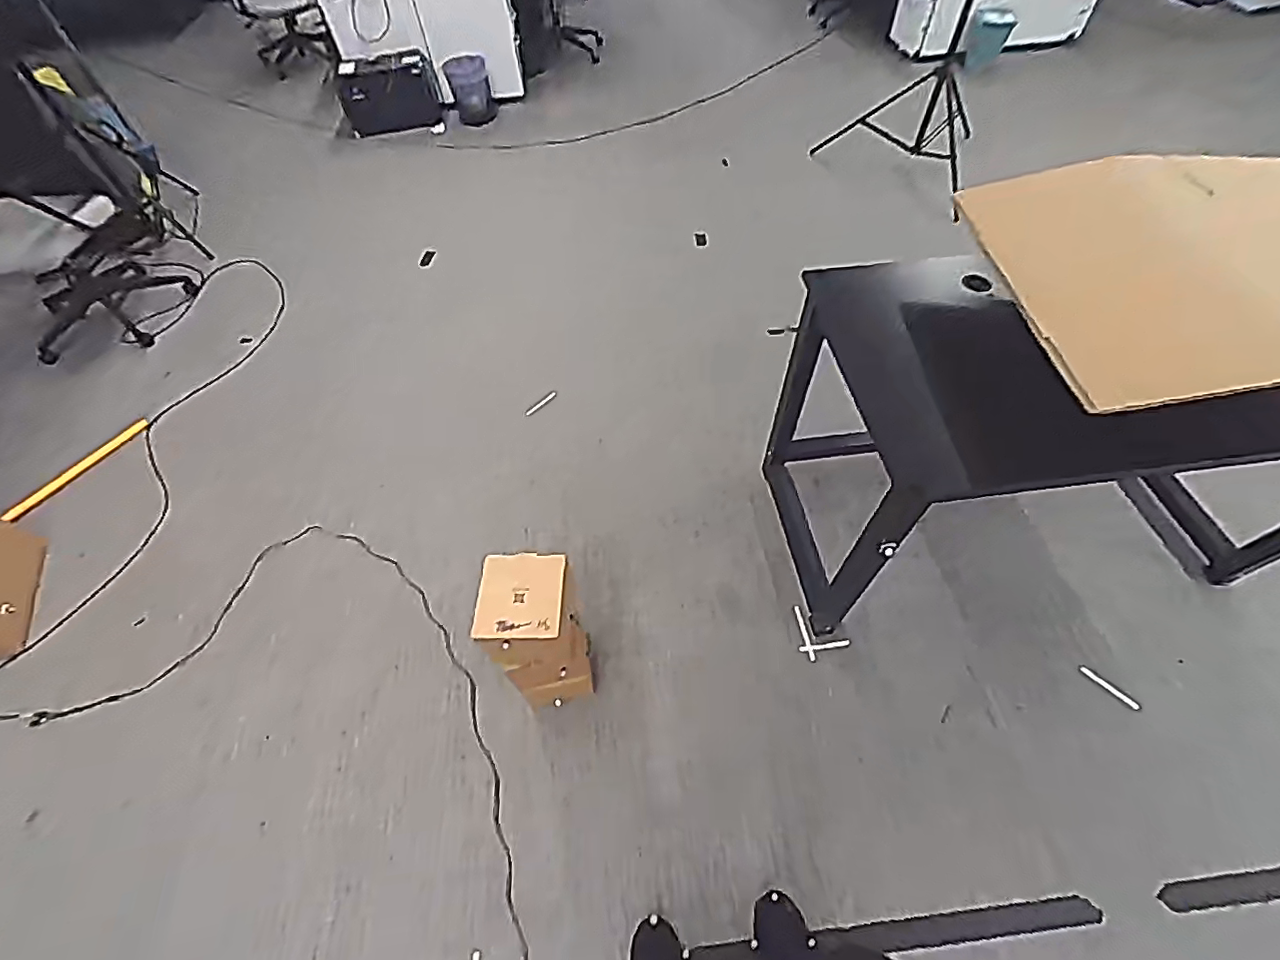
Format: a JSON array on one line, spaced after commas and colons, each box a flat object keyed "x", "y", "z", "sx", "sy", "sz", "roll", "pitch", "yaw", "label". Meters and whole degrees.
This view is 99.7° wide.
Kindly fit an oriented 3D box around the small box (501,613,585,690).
[{"x": -0.228, "y": 0.372, "z": 1.258, "sx": 0.168, "sy": 0.176, "sz": 0.179, "roll": -12, "pitch": 54, "yaw": -7, "label": "small box"}]

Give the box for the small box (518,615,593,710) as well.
[{"x": -0.219, "y": 0.470, "z": 1.387, "sx": 0.168, "sy": 0.176, "sz": 0.179, "roll": -10, "pitch": 56, "yaw": -4, "label": "small box"}]

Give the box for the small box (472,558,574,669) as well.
[{"x": -0.232, "y": 0.277, "z": 1.124, "sx": 0.168, "sy": 0.176, "sz": 0.179, "roll": -1, "pitch": 54, "yaw": 2, "label": "small box"}]
